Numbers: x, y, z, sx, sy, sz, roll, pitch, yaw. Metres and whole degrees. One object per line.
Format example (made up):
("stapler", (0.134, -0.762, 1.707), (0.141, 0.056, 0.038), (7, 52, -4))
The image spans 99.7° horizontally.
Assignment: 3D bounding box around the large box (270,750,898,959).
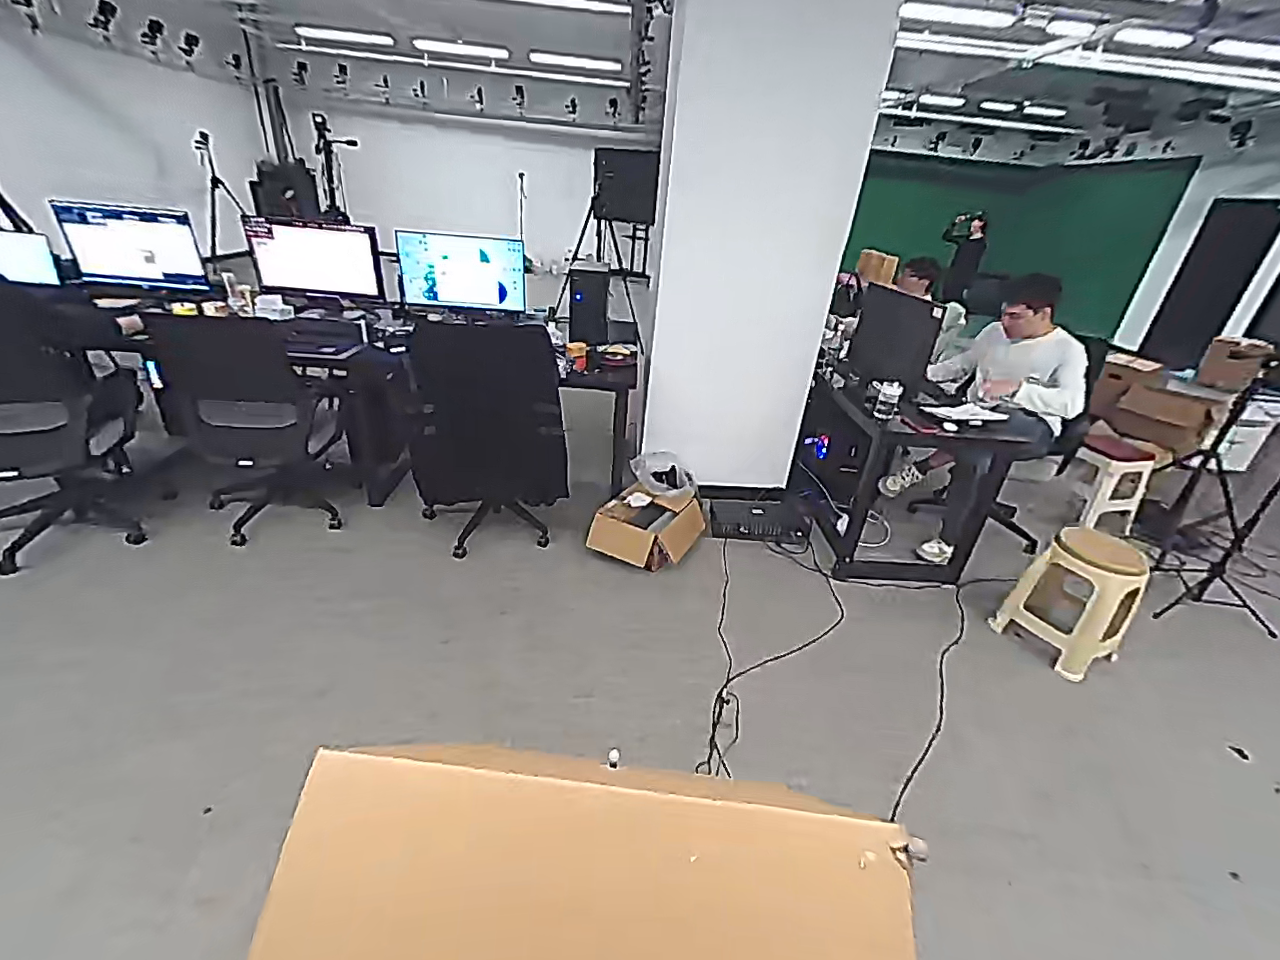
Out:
("large box", (-0.045, 0.417, 0.453), (0.408, 0.320, 0.320), (7, 66, 1))
